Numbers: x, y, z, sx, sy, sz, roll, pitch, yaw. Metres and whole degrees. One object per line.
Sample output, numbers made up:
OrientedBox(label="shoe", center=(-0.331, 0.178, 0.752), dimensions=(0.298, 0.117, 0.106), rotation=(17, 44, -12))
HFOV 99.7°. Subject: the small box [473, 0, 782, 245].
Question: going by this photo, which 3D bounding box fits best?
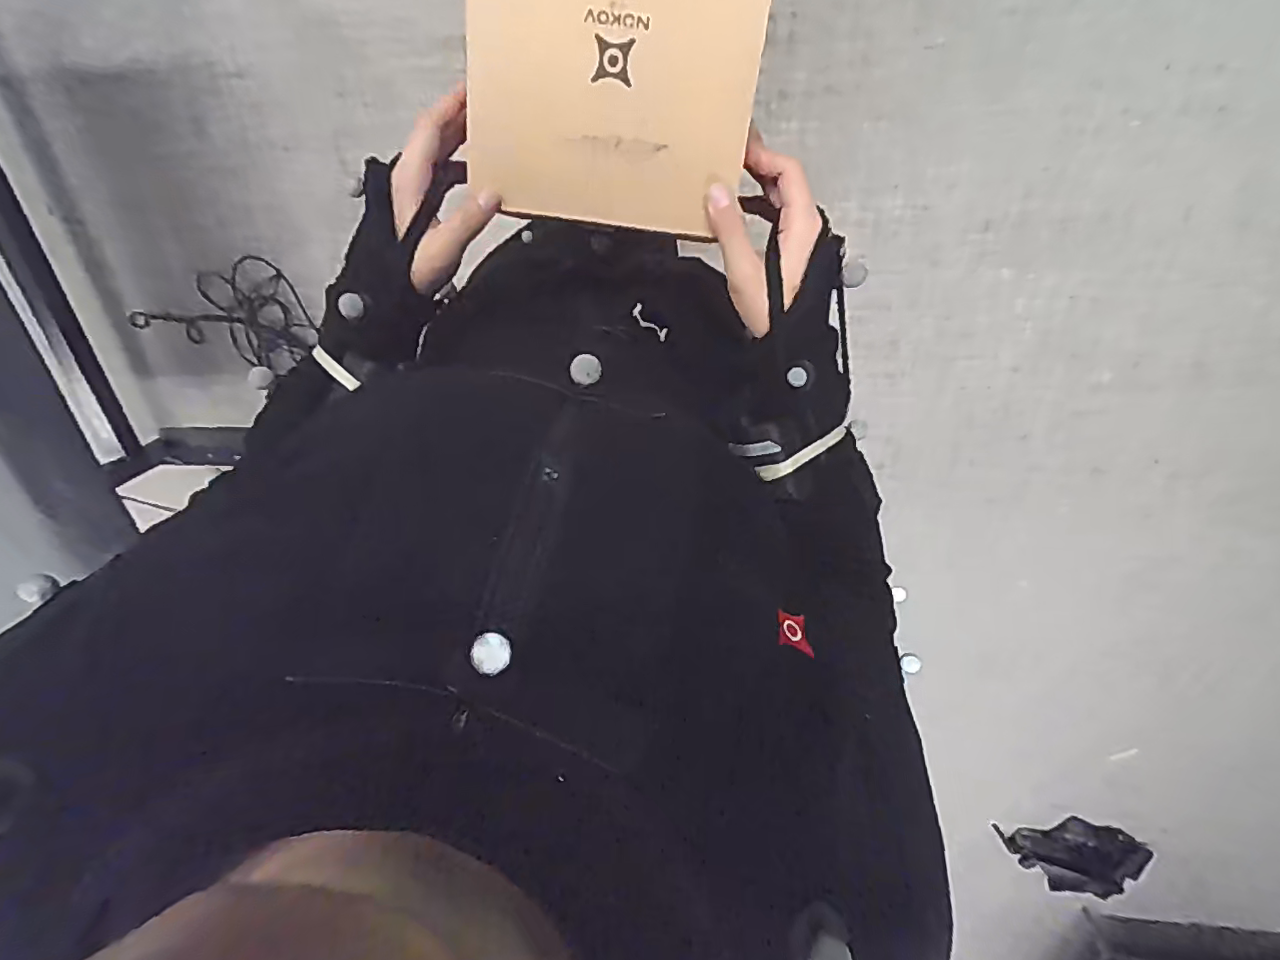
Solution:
OrientedBox(label="small box", center=(-0.008, -0.268, 0.373), dimensions=(0.168, 0.176, 0.179), rotation=(7, 113, -1))
